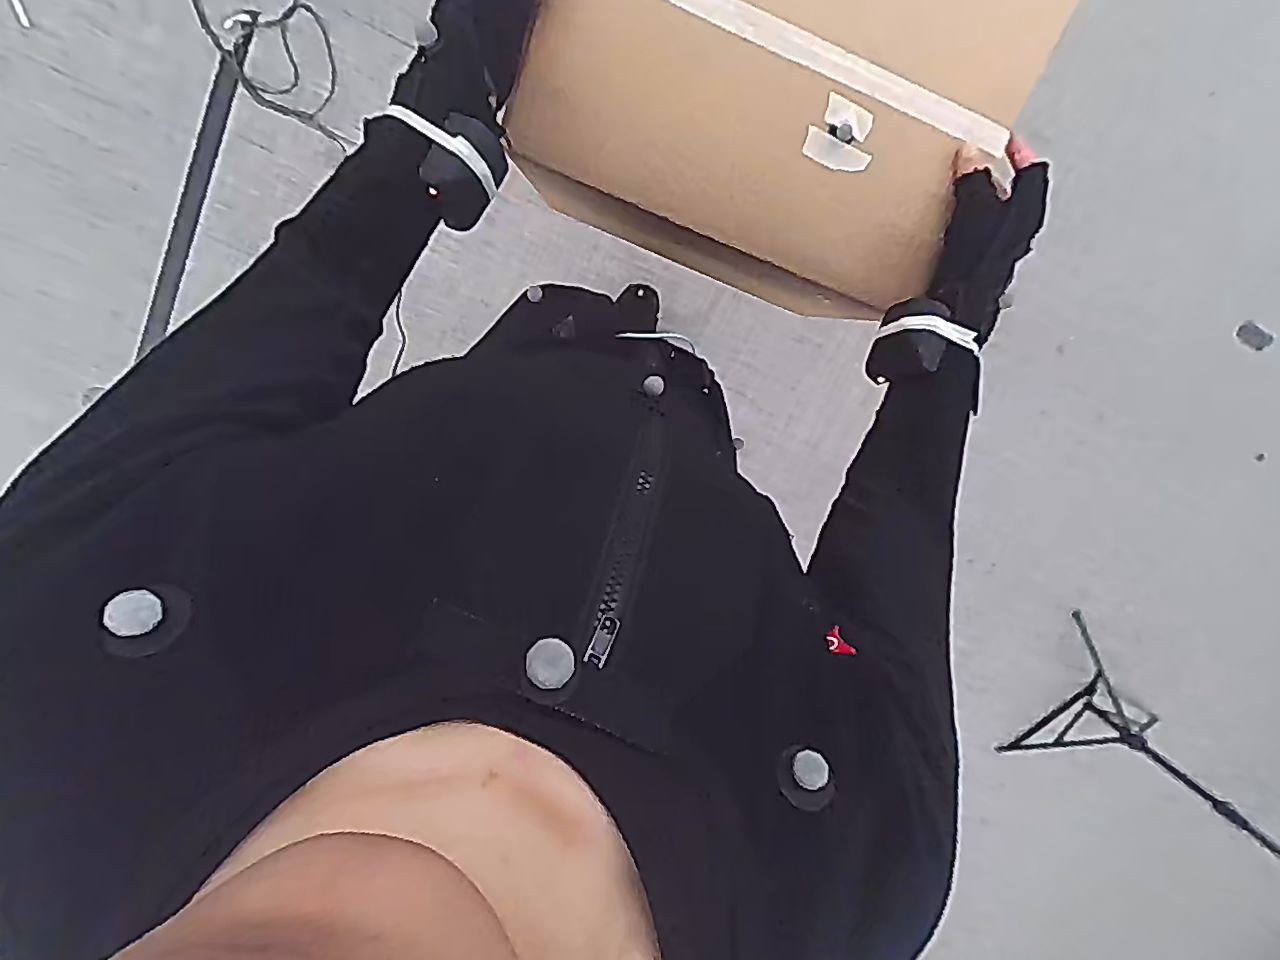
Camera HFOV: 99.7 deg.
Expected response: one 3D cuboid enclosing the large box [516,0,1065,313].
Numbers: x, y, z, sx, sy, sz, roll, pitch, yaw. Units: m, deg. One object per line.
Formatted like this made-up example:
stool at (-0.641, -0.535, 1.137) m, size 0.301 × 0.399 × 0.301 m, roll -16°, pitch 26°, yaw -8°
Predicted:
large box at (0.119, -0.405, 0.595) m, size 0.408 × 0.320 × 0.320 m, roll 20°, pitch 107°, yaw -9°
